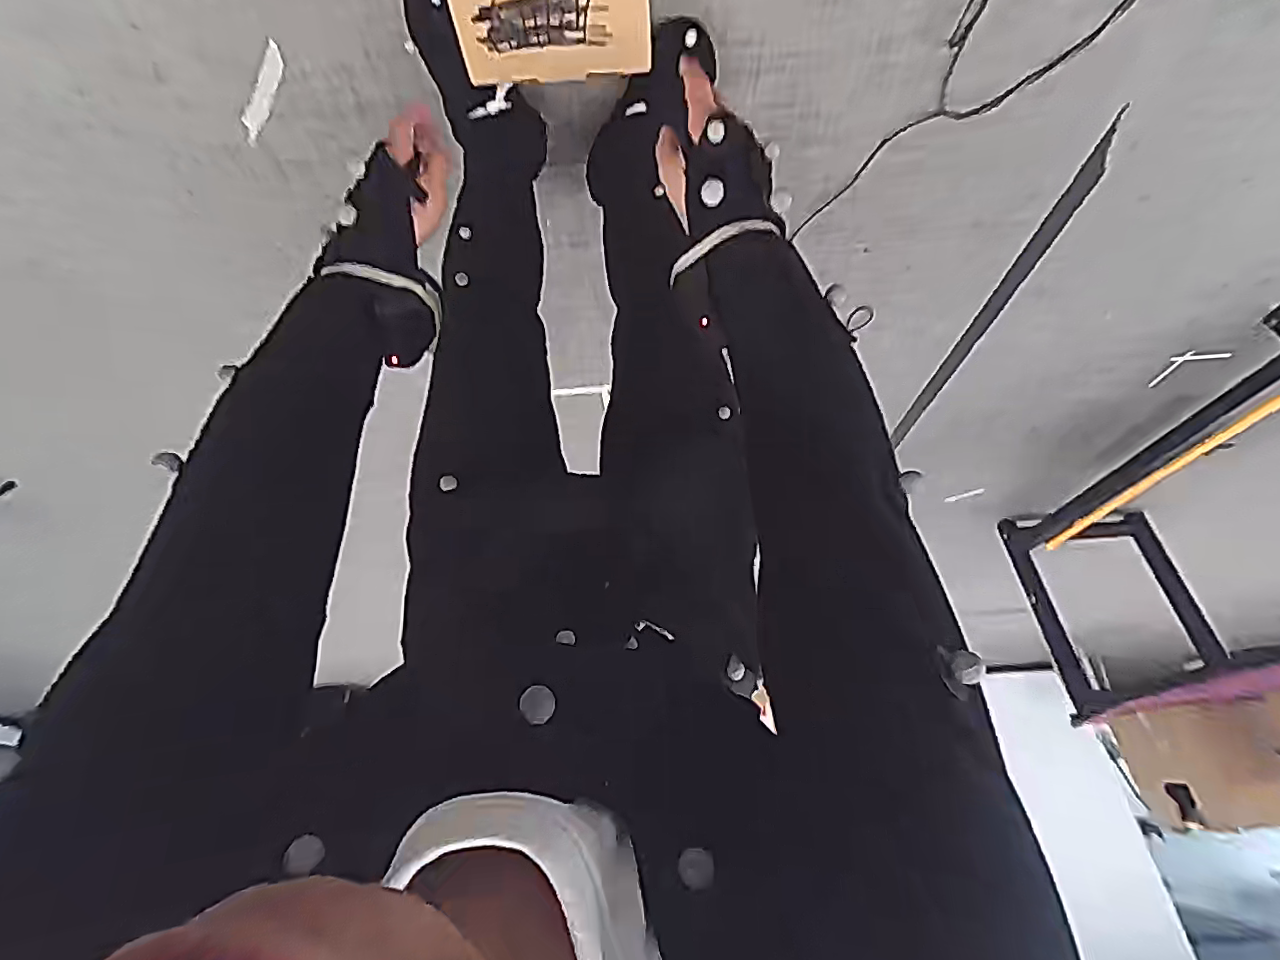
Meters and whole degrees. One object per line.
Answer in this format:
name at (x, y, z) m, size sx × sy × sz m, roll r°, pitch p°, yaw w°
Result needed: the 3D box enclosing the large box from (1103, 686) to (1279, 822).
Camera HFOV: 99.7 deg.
large box at (1.739, 0.810, 1.599) m, size 0.408 × 0.320 × 0.320 m, roll -5°, pitch 151°, yaw -1°
